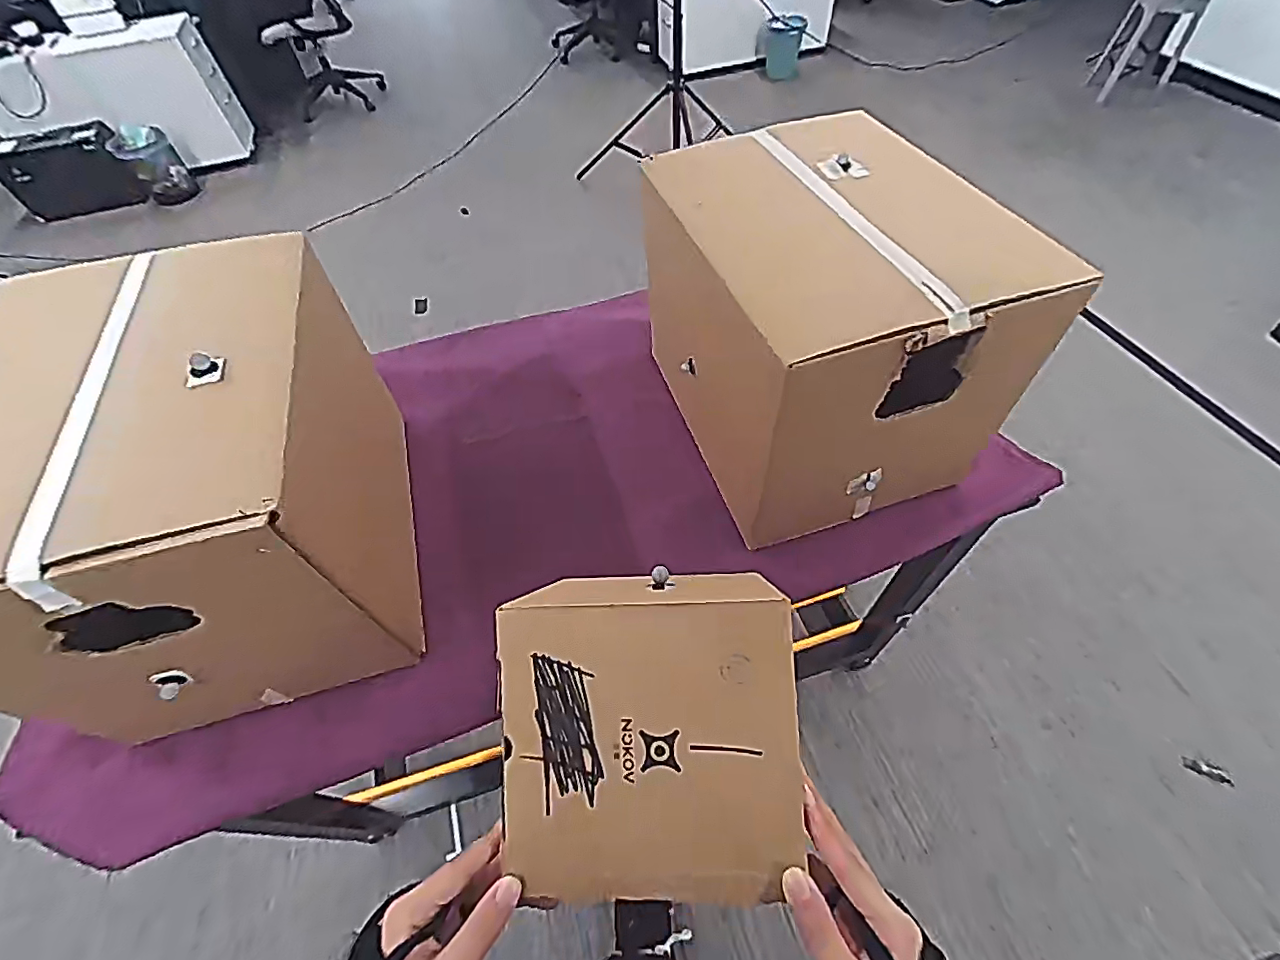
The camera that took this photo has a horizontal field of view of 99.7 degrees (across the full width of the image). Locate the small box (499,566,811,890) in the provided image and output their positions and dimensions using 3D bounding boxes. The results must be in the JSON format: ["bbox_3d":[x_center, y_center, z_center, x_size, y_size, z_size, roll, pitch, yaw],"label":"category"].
[{"bbox_3d":[0.012,0.151,0.388,0.179,0.176,0.168,-3,85,5],"label":"small box"}]

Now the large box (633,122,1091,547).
[{"bbox_3d":[0.210,-0.190,0.693,0.320,0.320,0.408,-17,53,-9],"label":"large box"}]
